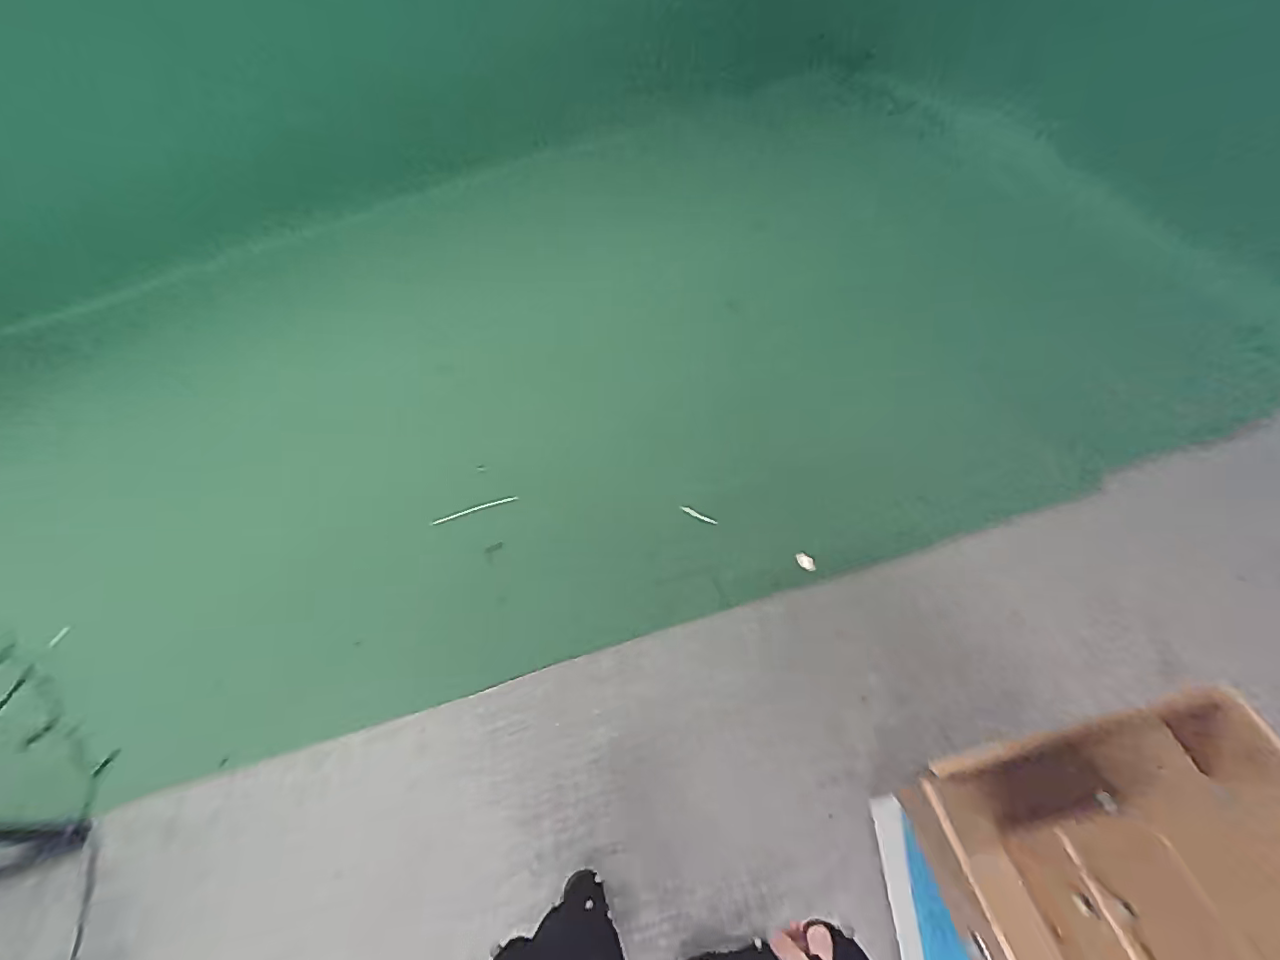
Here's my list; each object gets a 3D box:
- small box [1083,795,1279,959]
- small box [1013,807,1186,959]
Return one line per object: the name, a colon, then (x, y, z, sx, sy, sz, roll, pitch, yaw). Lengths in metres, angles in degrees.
small box: (0.550, 0.381, 0.464, 0.179, 0.176, 0.168, -16, 55, 0)
small box: (0.569, 0.474, 0.597, 0.179, 0.176, 0.168, -15, 55, -1)
